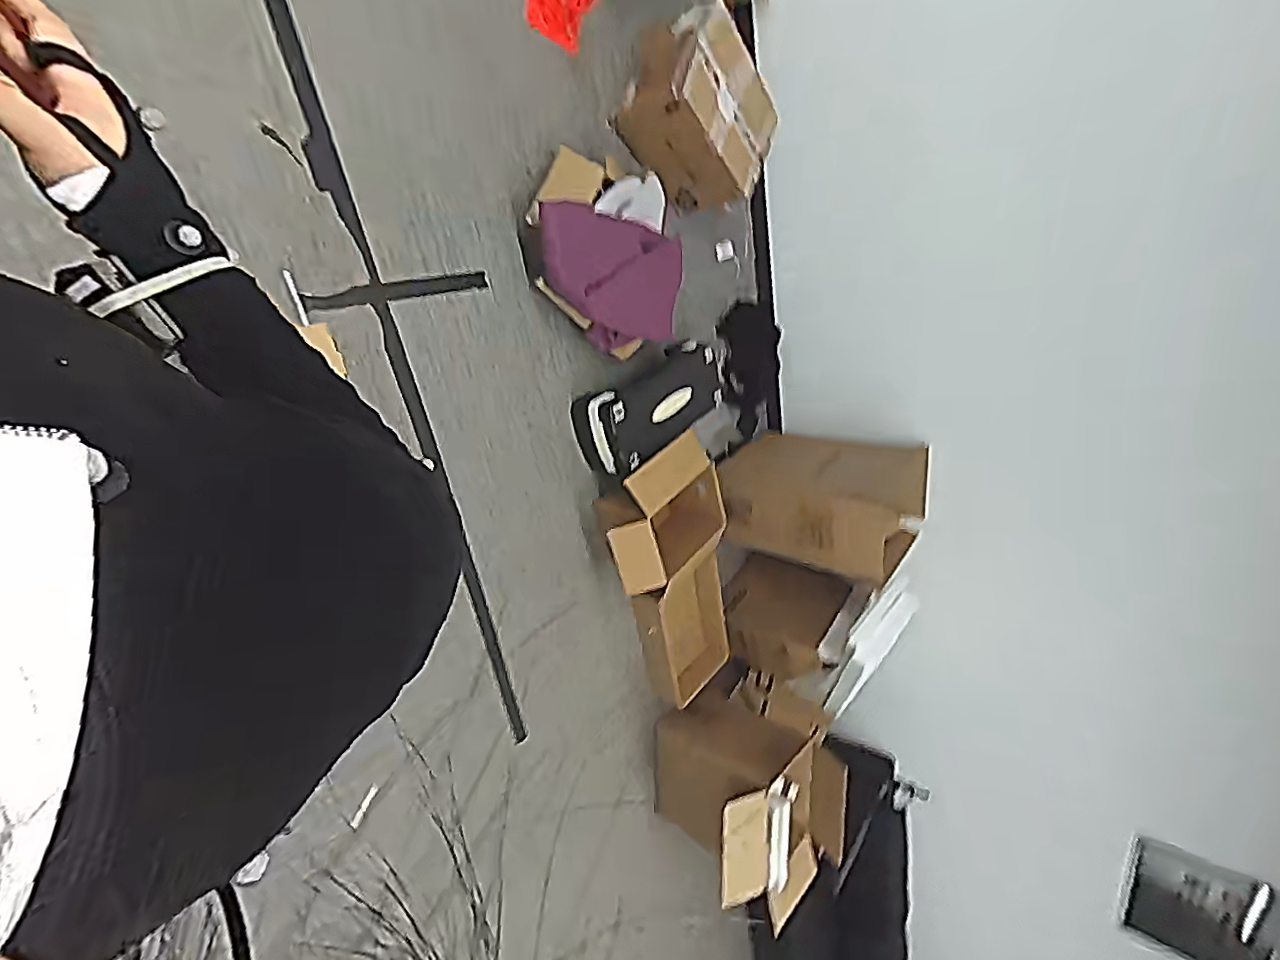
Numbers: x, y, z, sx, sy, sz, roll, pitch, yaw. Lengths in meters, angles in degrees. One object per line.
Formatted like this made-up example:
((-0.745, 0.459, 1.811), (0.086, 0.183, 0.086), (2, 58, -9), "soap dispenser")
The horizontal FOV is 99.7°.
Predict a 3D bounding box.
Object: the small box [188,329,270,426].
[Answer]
((-0.855, -0.233, 1.194), (0.168, 0.176, 0.179), (-30, 120, -41), "small box")
